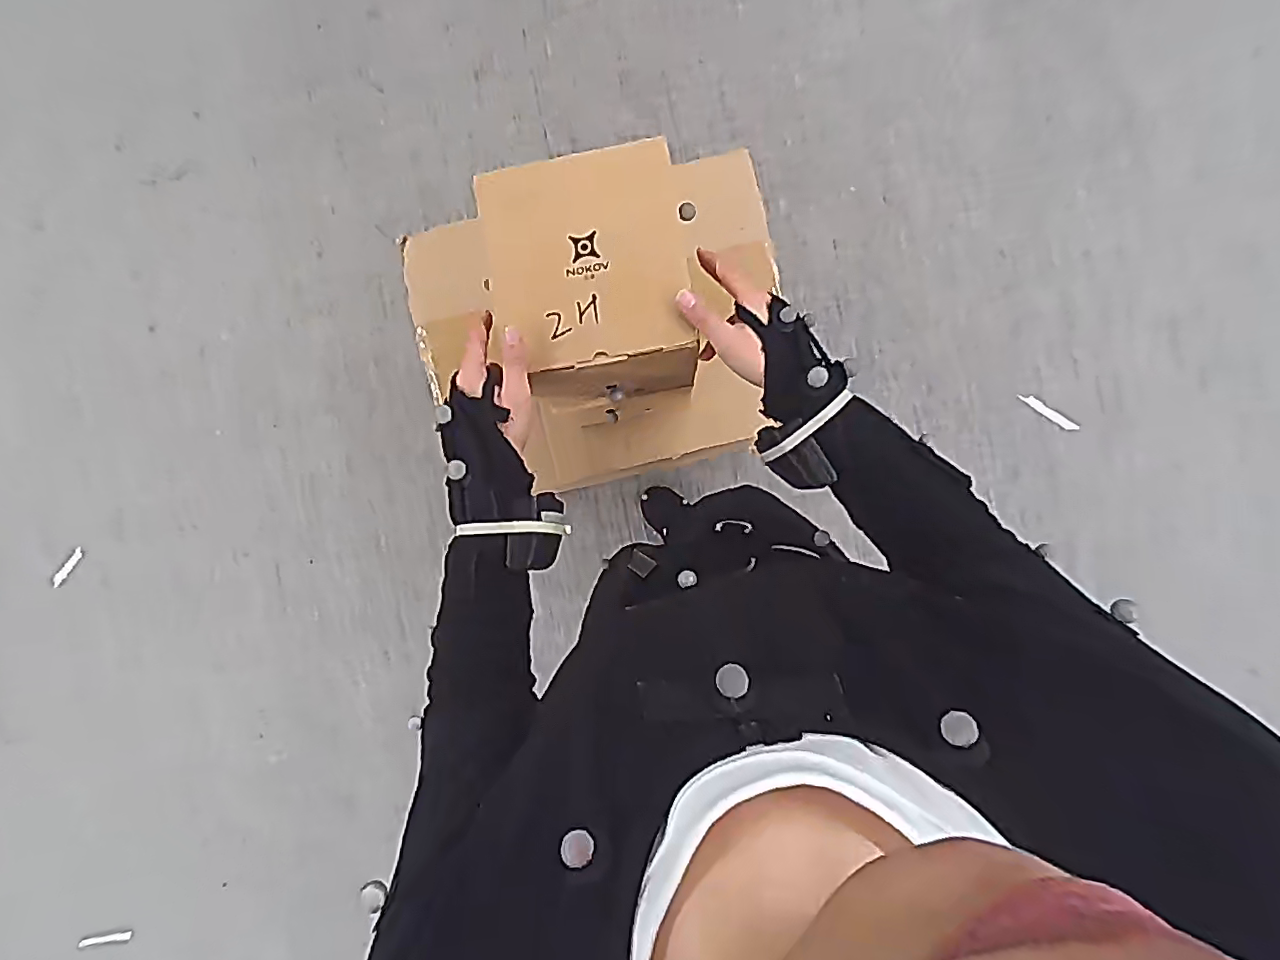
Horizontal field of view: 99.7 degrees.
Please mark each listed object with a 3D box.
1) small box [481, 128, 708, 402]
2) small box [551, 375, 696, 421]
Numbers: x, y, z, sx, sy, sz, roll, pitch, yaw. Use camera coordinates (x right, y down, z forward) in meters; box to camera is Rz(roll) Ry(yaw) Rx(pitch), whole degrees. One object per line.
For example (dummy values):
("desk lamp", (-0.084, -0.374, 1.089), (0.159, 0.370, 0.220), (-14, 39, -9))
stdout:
("small box", (-0.034, -0.183, 0.512), (0.168, 0.176, 0.179), (-9, 89, 4))
("small box", (-0.026, -0.175, 0.677), (0.168, 0.176, 0.179), (-11, 88, 3))
